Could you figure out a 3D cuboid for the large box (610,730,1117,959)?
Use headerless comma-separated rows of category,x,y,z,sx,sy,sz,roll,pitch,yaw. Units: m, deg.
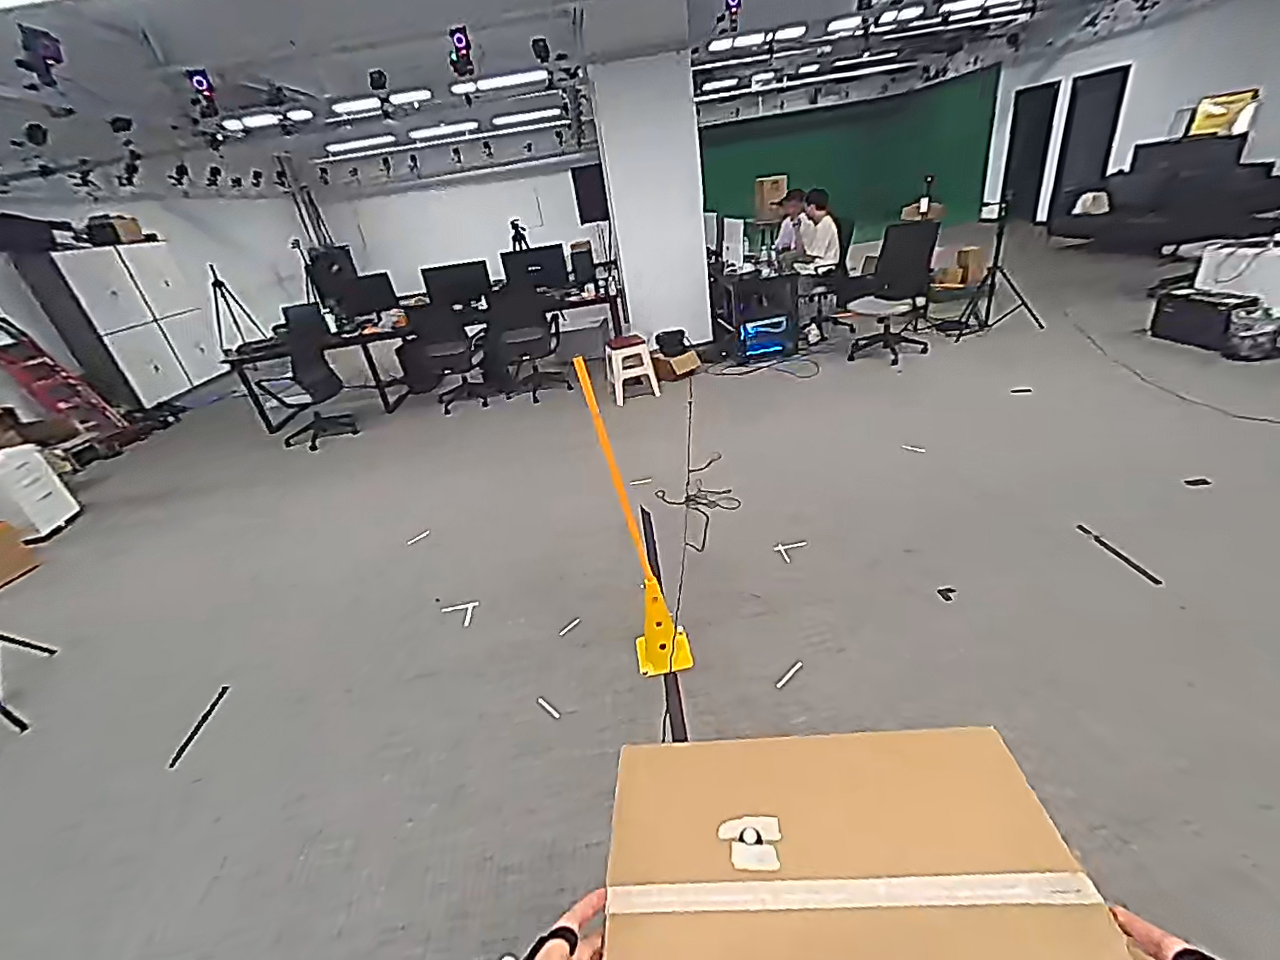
large box,0.196,0.499,0.540,0.408,0.320,0.320,-8,27,7
